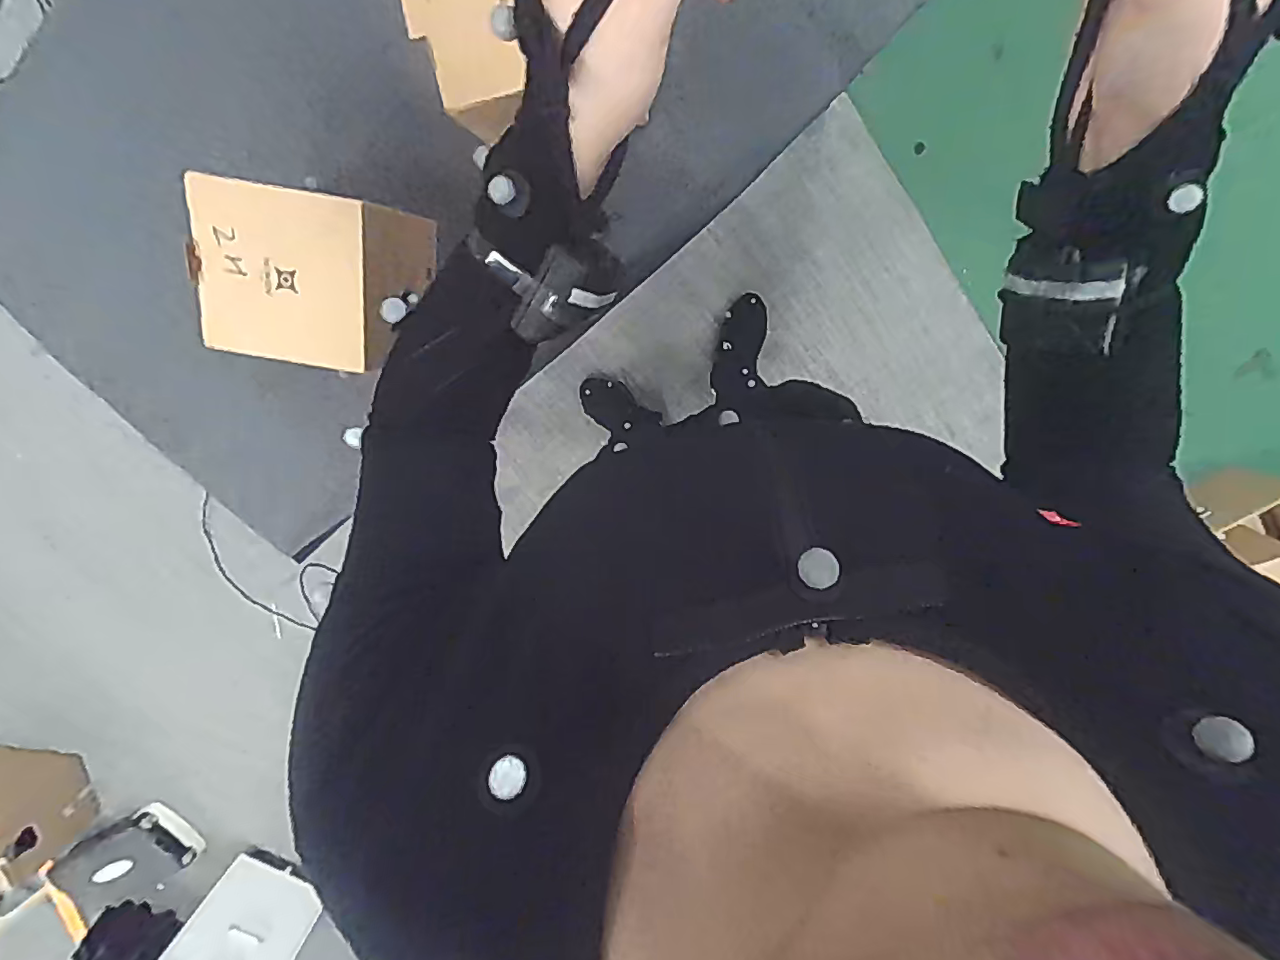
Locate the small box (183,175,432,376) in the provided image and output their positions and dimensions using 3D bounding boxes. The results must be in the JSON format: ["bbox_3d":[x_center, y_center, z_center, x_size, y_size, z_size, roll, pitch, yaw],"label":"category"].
[{"bbox_3d":[-0.352,-0.224,0.609,0.179,0.176,0.168,10,110,1],"label":"small box"}]

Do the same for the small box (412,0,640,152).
[{"bbox_3d":[-0.098,-0.436,0.513,0.179,0.176,0.168,-9,109,8],"label":"small box"}]
